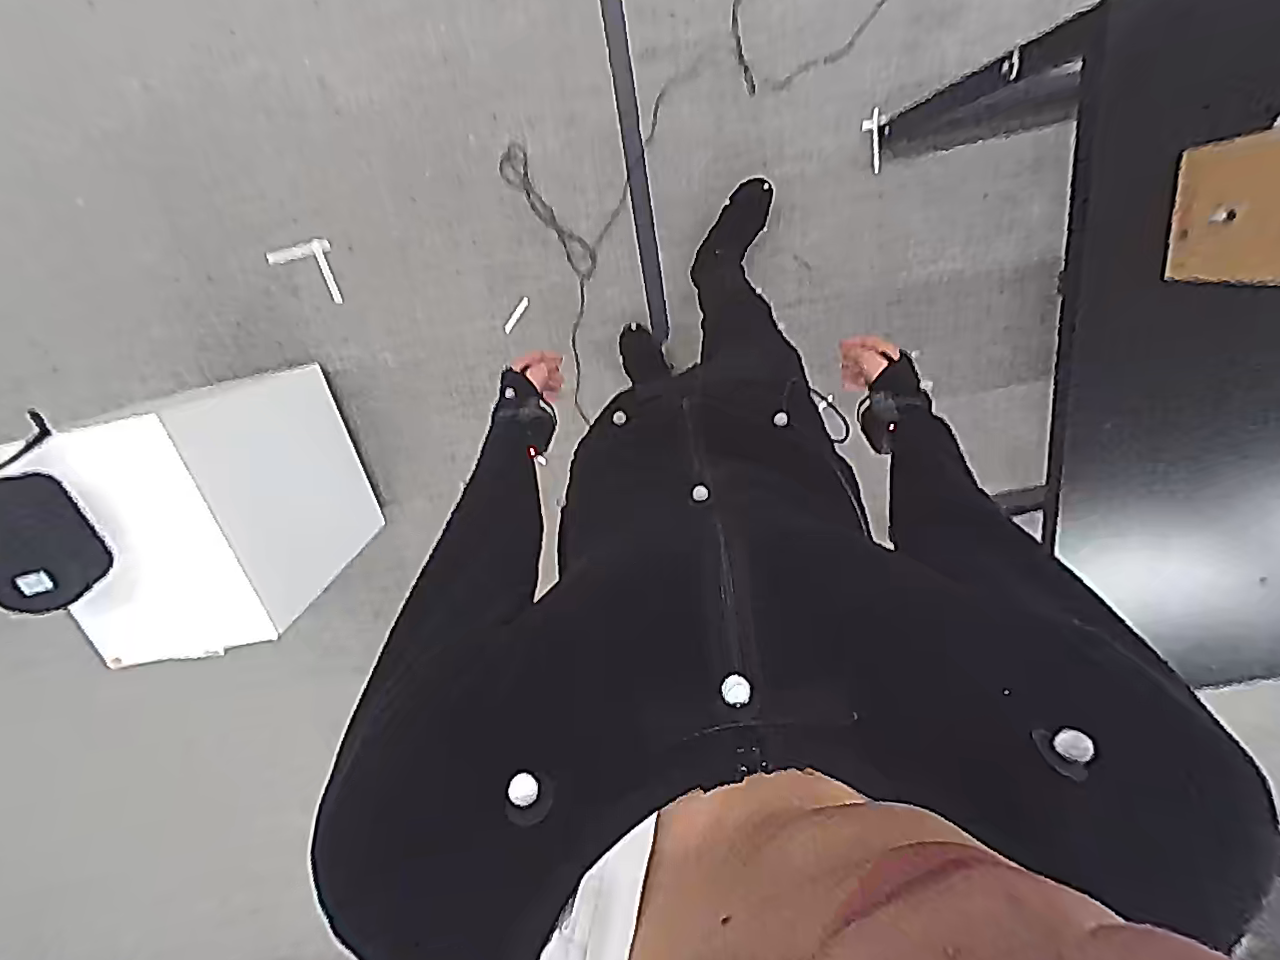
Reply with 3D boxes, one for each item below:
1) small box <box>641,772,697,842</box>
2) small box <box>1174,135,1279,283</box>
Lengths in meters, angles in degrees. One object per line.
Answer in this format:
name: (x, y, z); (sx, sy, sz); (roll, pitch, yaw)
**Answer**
small box: (0.101, 1.123, 1.839); (0.179, 0.176, 0.168); (-9, 111, 4)
small box: (0.832, -0.346, 0.673); (0.179, 0.176, 0.168); (-12, 111, 4)
